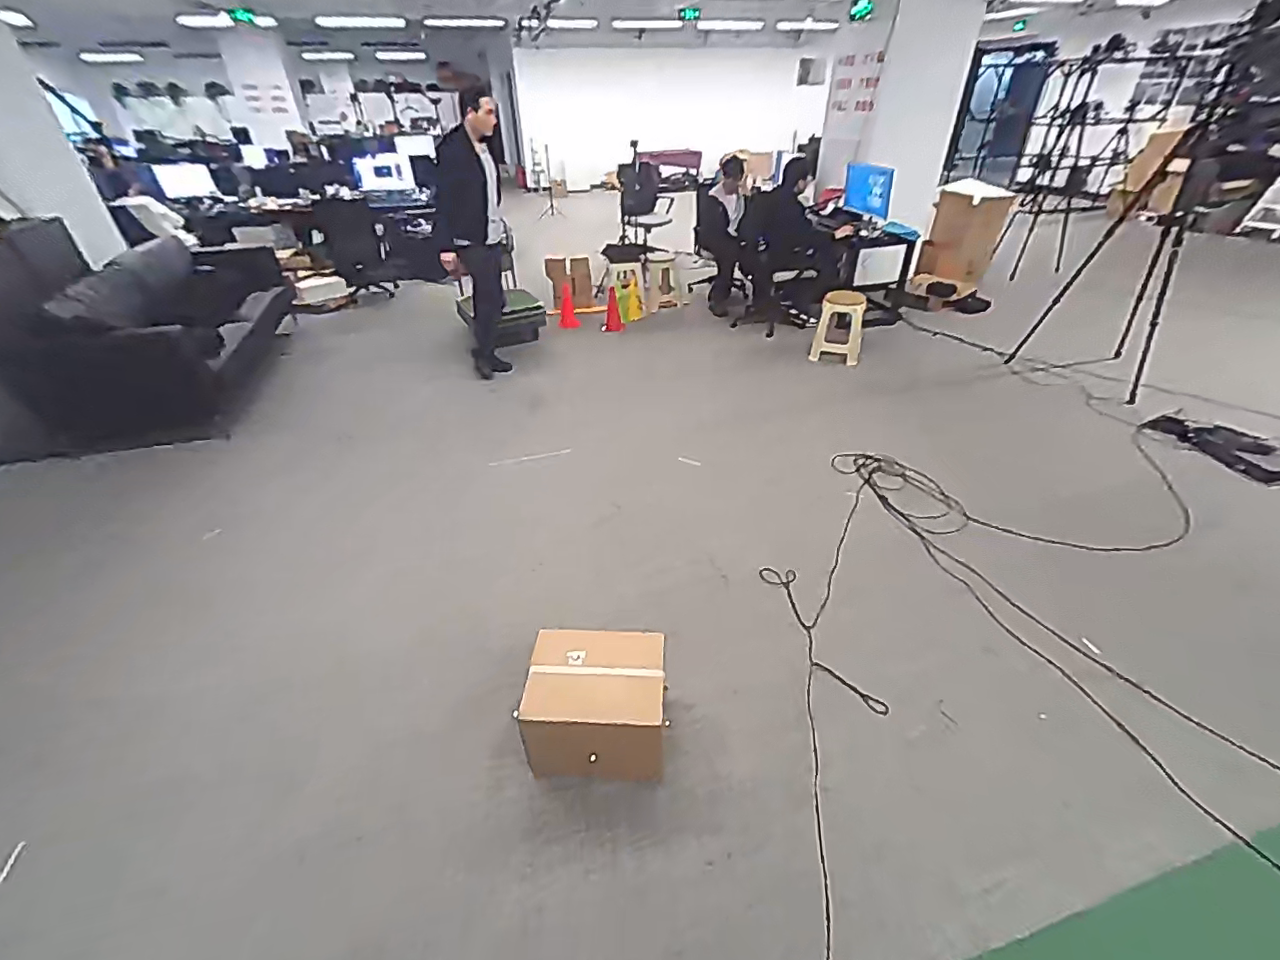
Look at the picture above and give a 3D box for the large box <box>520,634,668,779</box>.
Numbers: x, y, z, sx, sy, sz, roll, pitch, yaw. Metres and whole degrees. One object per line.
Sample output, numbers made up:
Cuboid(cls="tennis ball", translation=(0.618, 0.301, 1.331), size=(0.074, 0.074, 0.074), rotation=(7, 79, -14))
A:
Cuboid(cls="large box", translation=(-0.118, 0.701, 1.682), size=(0.408, 0.320, 0.320), rotation=(0, 35, 4))
